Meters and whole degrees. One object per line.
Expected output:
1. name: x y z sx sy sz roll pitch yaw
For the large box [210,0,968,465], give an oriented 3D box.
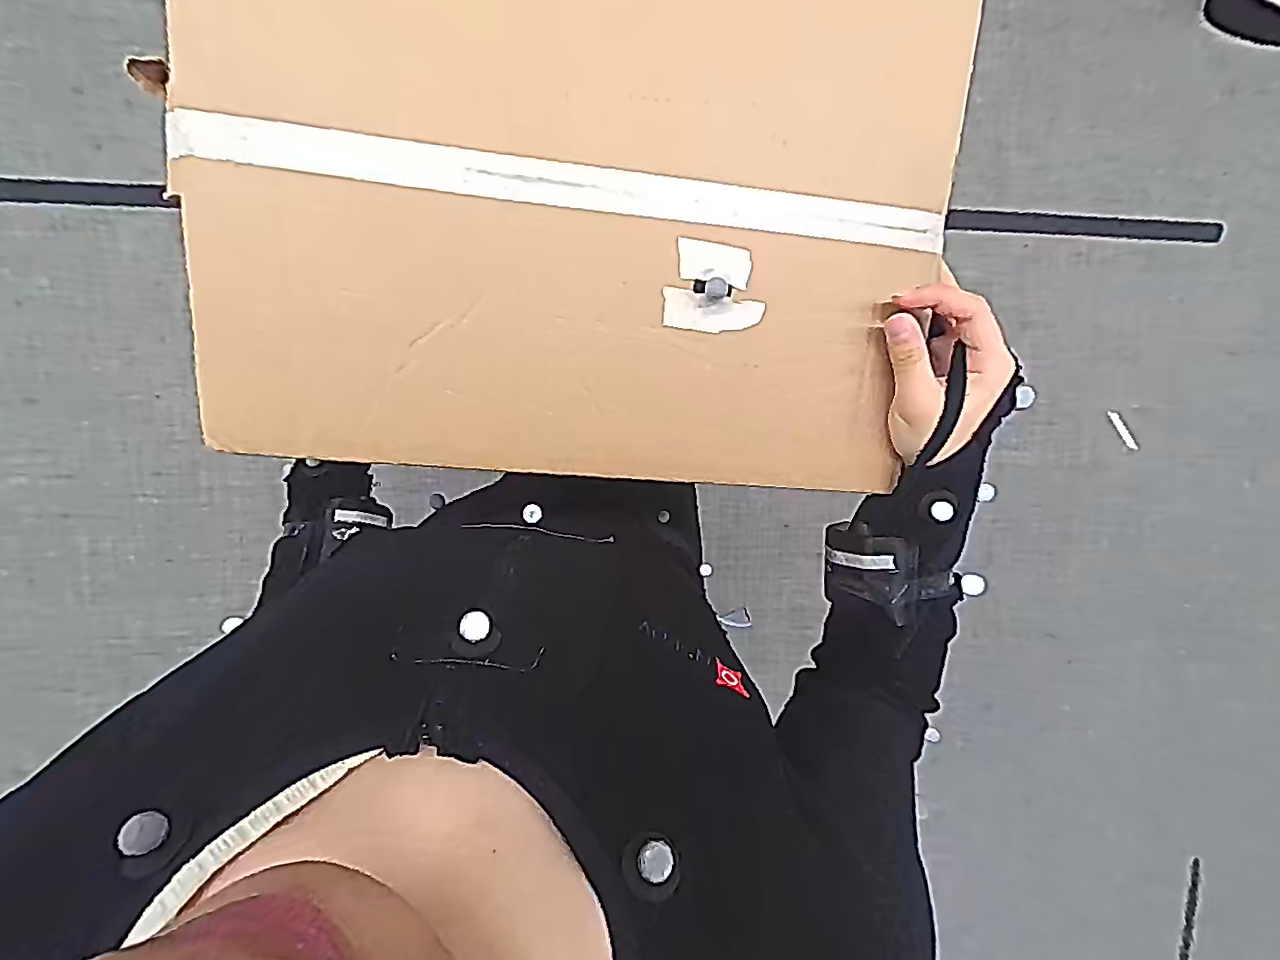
1. large box: -0.040 -0.196 0.444 0.408 0.320 0.320 3 102 -10
